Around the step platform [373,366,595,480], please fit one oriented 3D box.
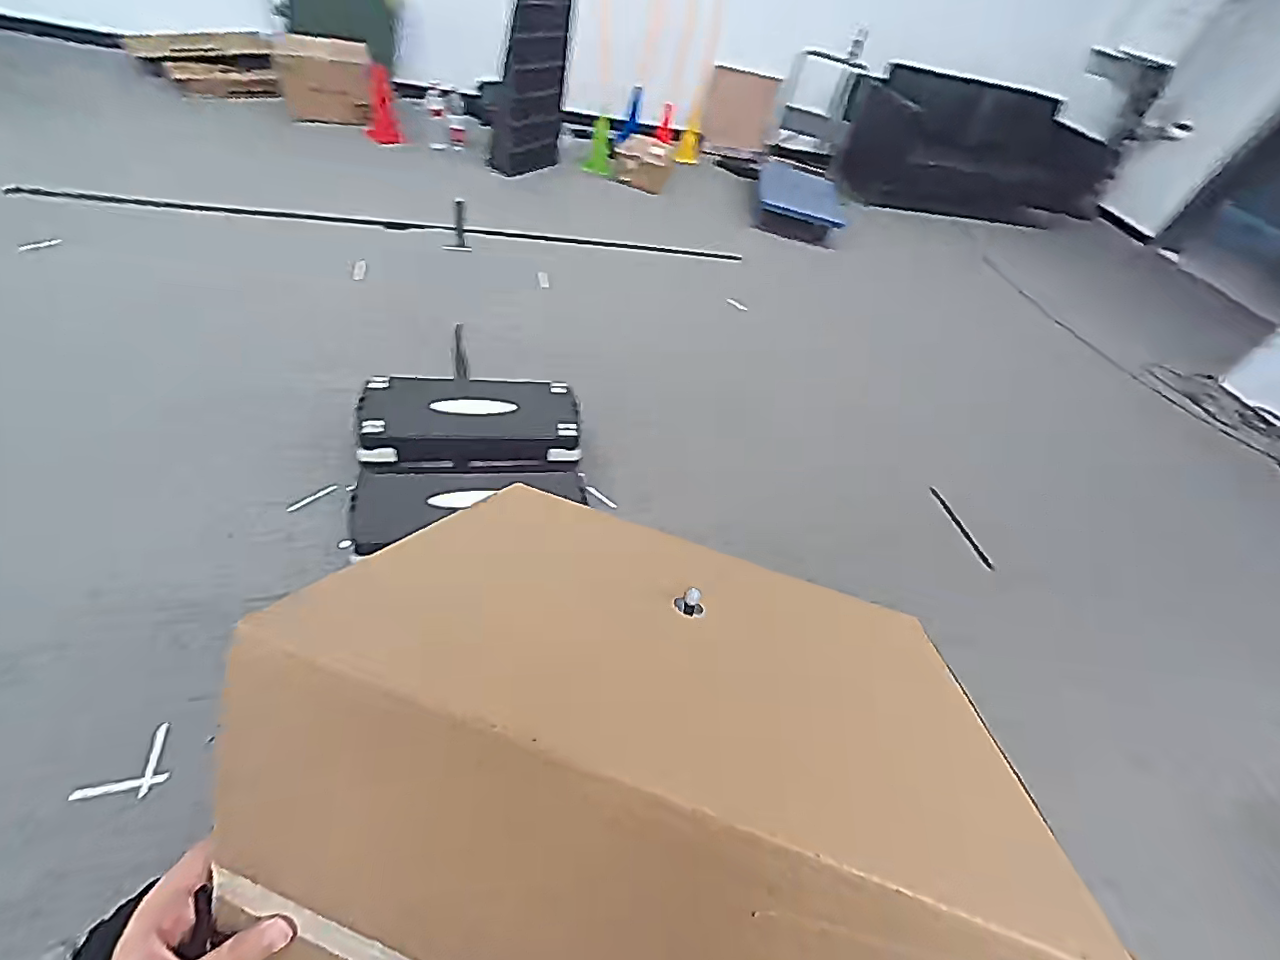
[{"bbox_3d":[-0.488,-0.184,1.763,0.684,0.204,0.286,4,49,-14],"label":"step platform"}]
